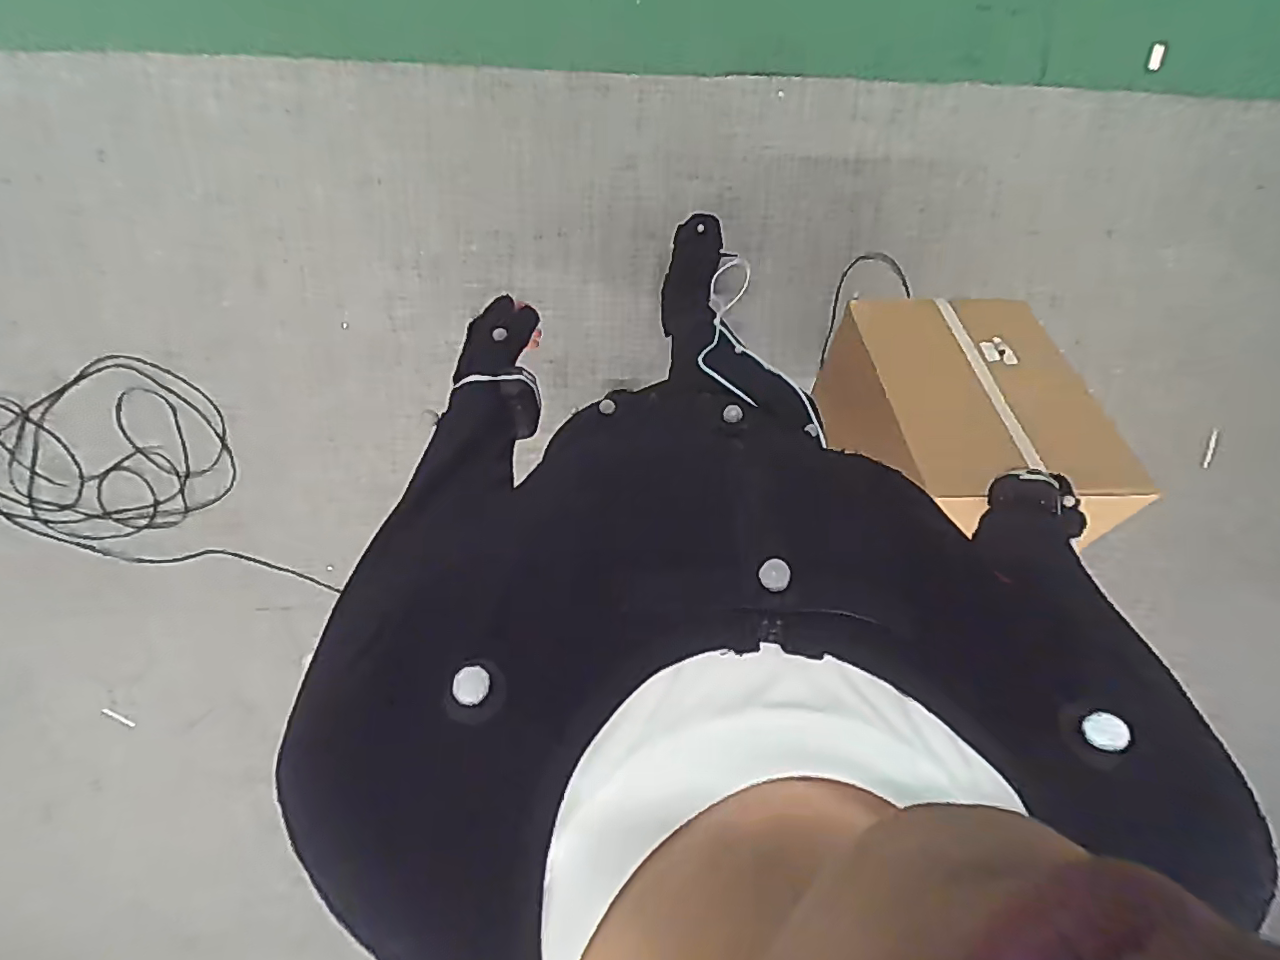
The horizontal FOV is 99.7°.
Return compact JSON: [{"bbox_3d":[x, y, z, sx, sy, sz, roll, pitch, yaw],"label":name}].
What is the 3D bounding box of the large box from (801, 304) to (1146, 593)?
[{"bbox_3d":[0.509,-0.052,0.943,0.320,0.408,0.320,0,143,-3],"label":"large box"}]
